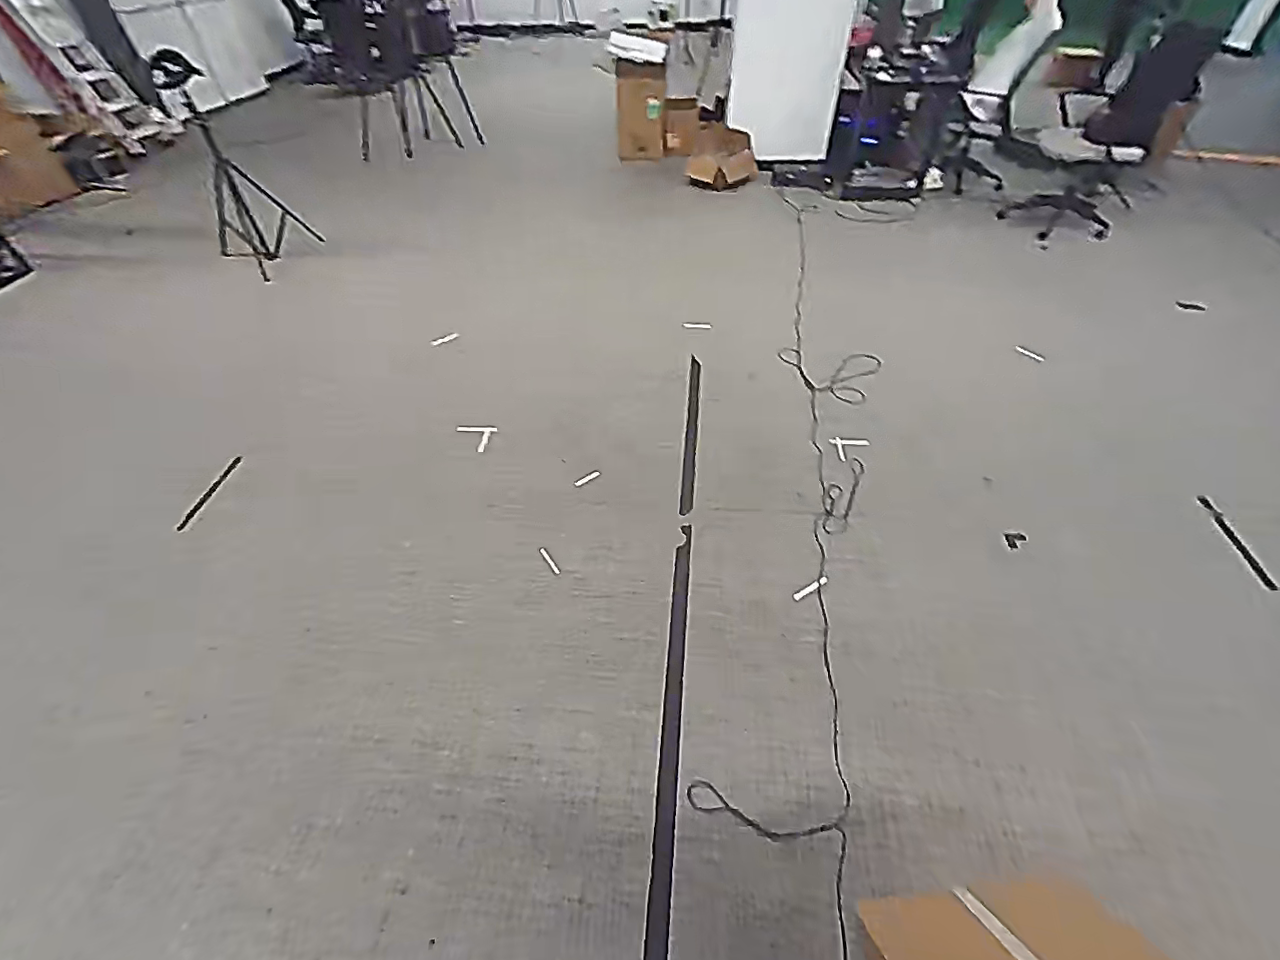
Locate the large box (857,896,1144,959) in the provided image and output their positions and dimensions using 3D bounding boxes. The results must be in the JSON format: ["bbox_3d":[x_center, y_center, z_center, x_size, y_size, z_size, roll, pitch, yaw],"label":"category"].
[{"bbox_3d":[0.481,0.738,0.576,0.320,0.408,0.320,-8,79,0],"label":"large box"}]
